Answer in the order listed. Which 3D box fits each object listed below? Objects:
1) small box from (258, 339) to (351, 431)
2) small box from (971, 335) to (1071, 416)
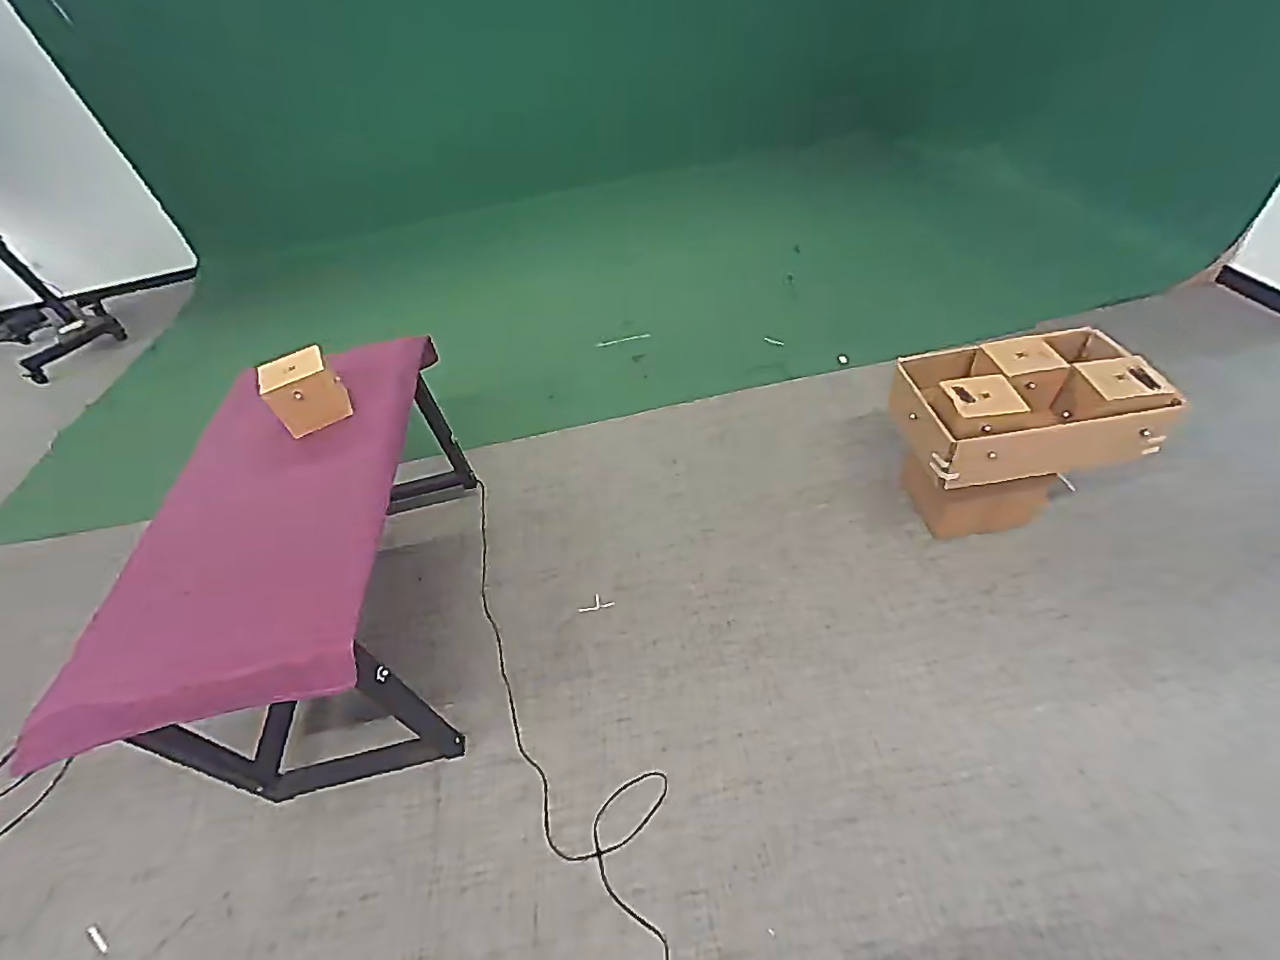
[{"bbox_3d":[-0.978,-0.278,1.589,0.179,0.176,0.168,-28,49,-14],"label":"small box"},{"bbox_3d":[1.133,-0.310,1.631,0.179,0.176,0.168,-9,48,4],"label":"small box"}]
